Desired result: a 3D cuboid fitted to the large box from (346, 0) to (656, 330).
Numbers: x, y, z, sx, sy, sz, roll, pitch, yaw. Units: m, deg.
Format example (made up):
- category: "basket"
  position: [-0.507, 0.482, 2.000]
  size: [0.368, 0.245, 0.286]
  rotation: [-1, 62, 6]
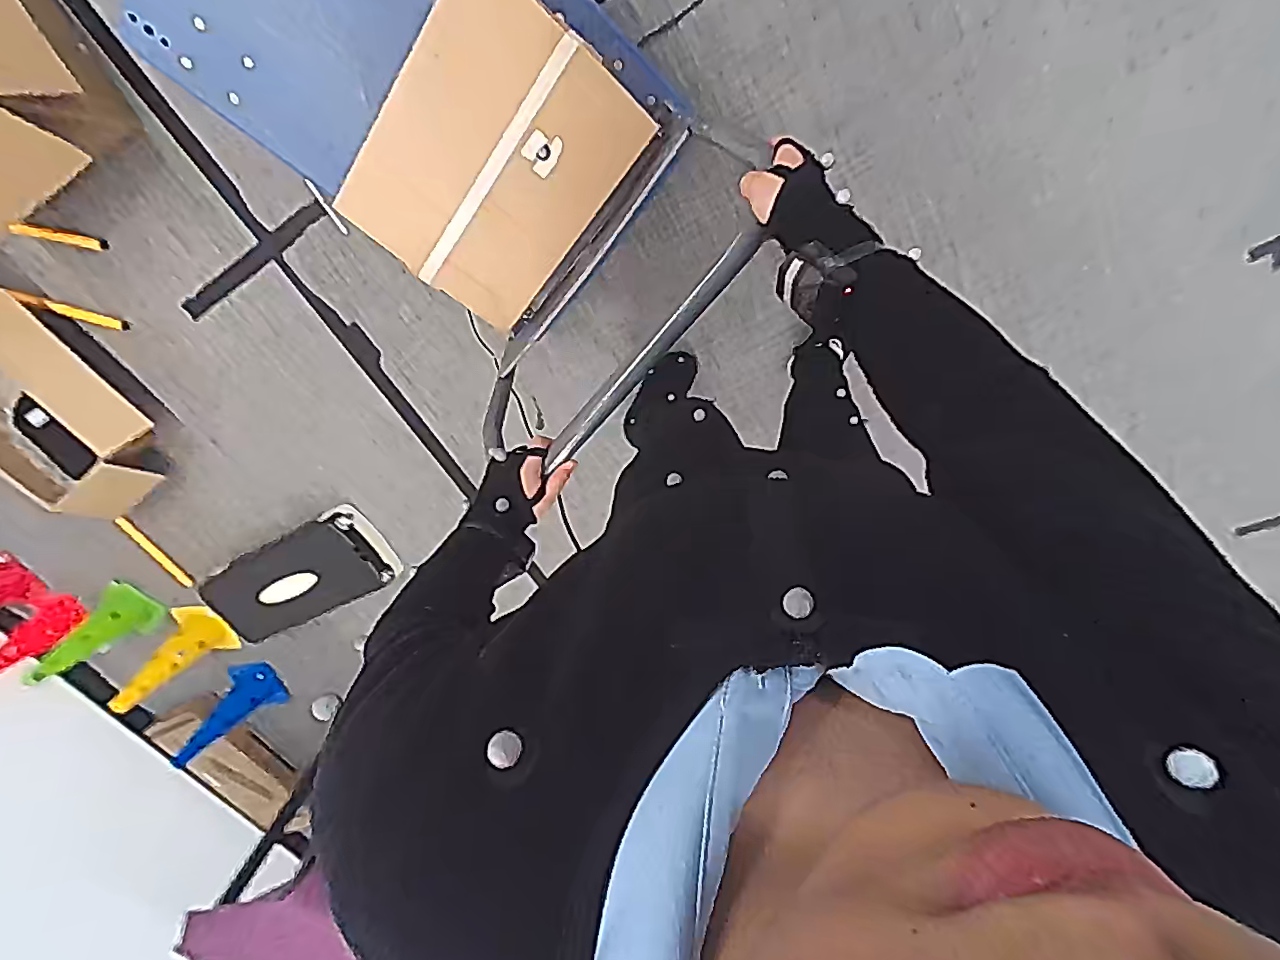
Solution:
- category: "large box"
  position: [-0.222, -0.546, 0.935]
  size: [0.320, 0.320, 0.408]
  rotation: [34, 114, -23]
